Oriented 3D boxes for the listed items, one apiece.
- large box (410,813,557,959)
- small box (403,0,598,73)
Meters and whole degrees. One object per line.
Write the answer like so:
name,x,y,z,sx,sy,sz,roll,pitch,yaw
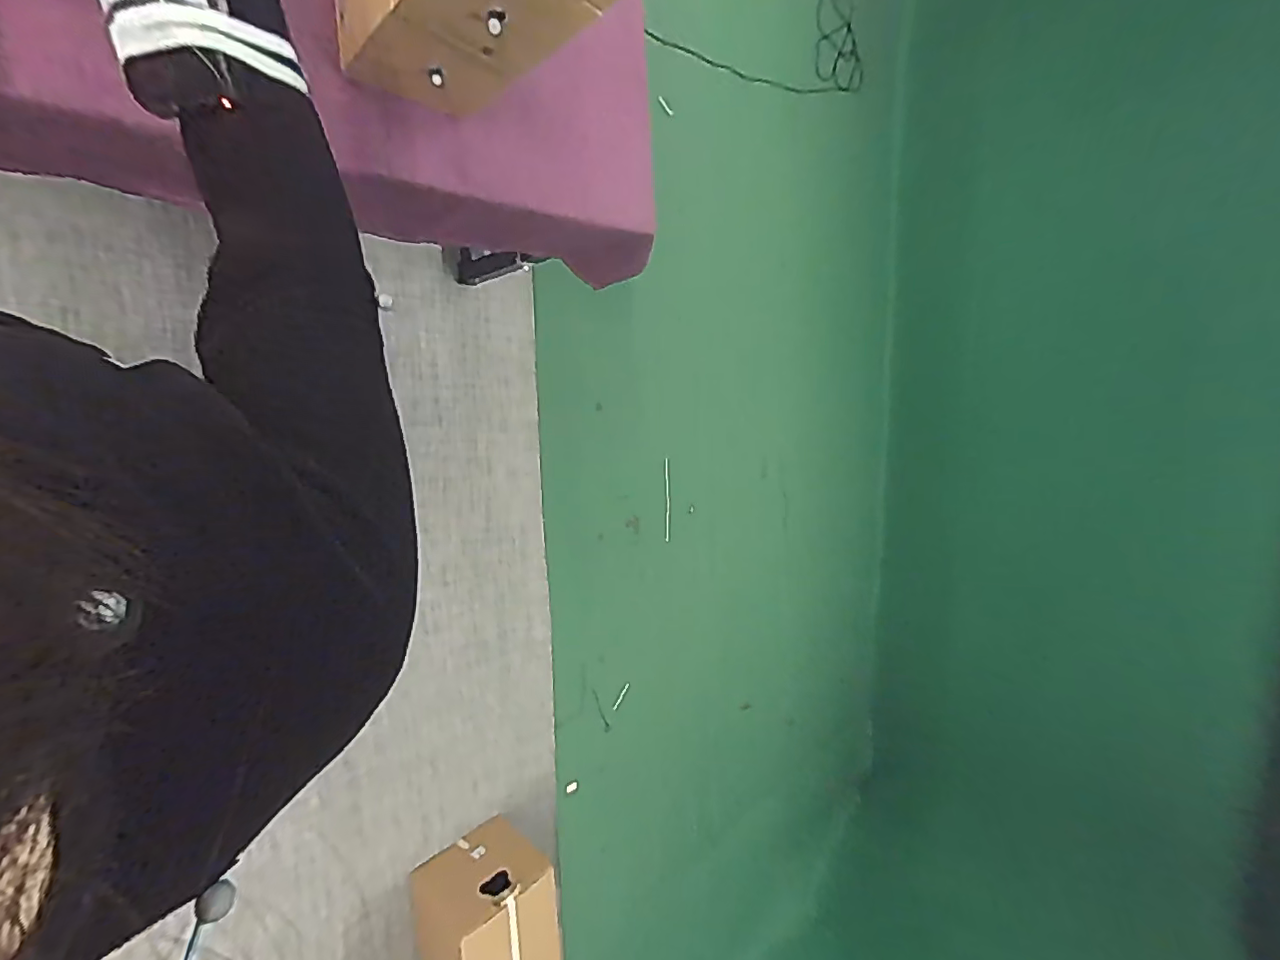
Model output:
large box,-0.483,1.366,1.681,0.320,0.320,0.408,-11,104,-45
small box,-0.158,-0.596,0.587,0.168,0.176,0.179,-5,99,-46
